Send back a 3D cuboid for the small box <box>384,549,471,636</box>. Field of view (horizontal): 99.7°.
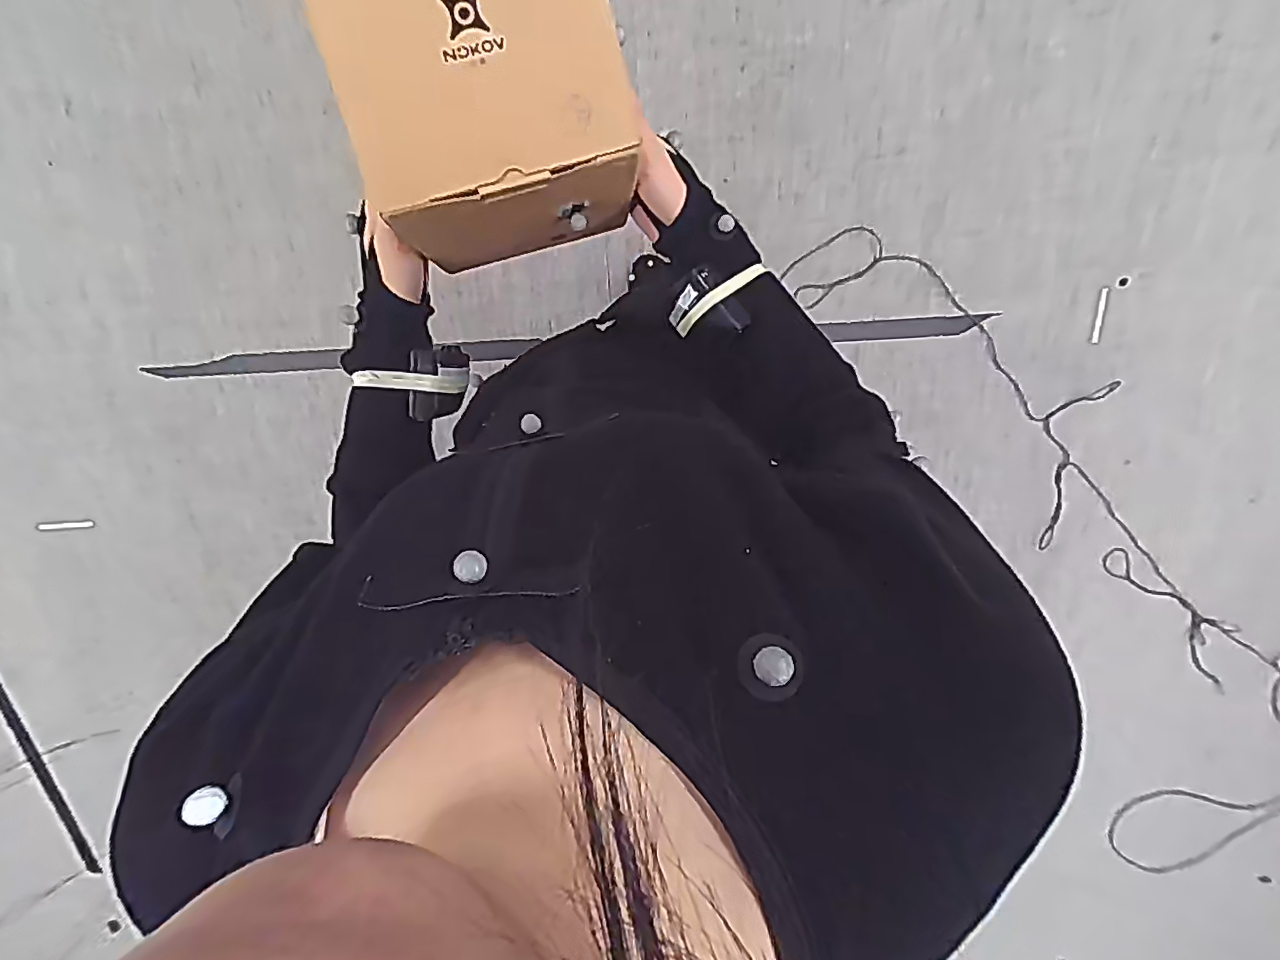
[{"bbox_3d":[-0.593,0.310,1.522,0.179,0.176,0.168,12,107,-6],"label":"small box"}]
